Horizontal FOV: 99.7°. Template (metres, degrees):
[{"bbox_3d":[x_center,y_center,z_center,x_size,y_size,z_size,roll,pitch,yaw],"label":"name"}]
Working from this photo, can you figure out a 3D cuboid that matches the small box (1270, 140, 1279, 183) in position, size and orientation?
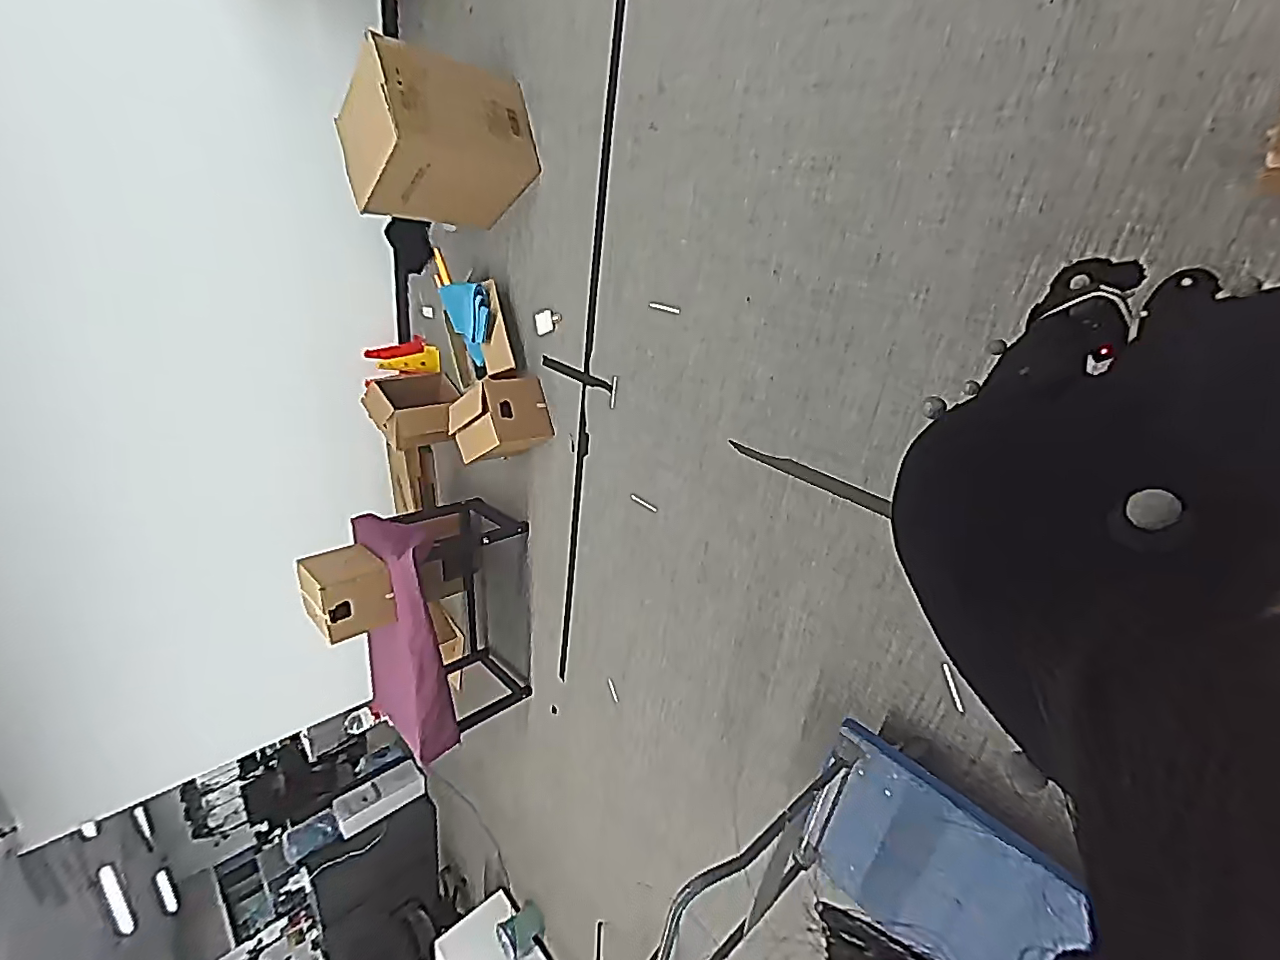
[{"bbox_3d":[1.008,-0.507,0.724,0.168,0.176,0.179,32,122,37],"label":"small box"}]

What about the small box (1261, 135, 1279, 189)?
[{"bbox_3d":[1.122,-0.555,0.833,0.179,0.176,0.168,25,118,41],"label":"small box"}]
